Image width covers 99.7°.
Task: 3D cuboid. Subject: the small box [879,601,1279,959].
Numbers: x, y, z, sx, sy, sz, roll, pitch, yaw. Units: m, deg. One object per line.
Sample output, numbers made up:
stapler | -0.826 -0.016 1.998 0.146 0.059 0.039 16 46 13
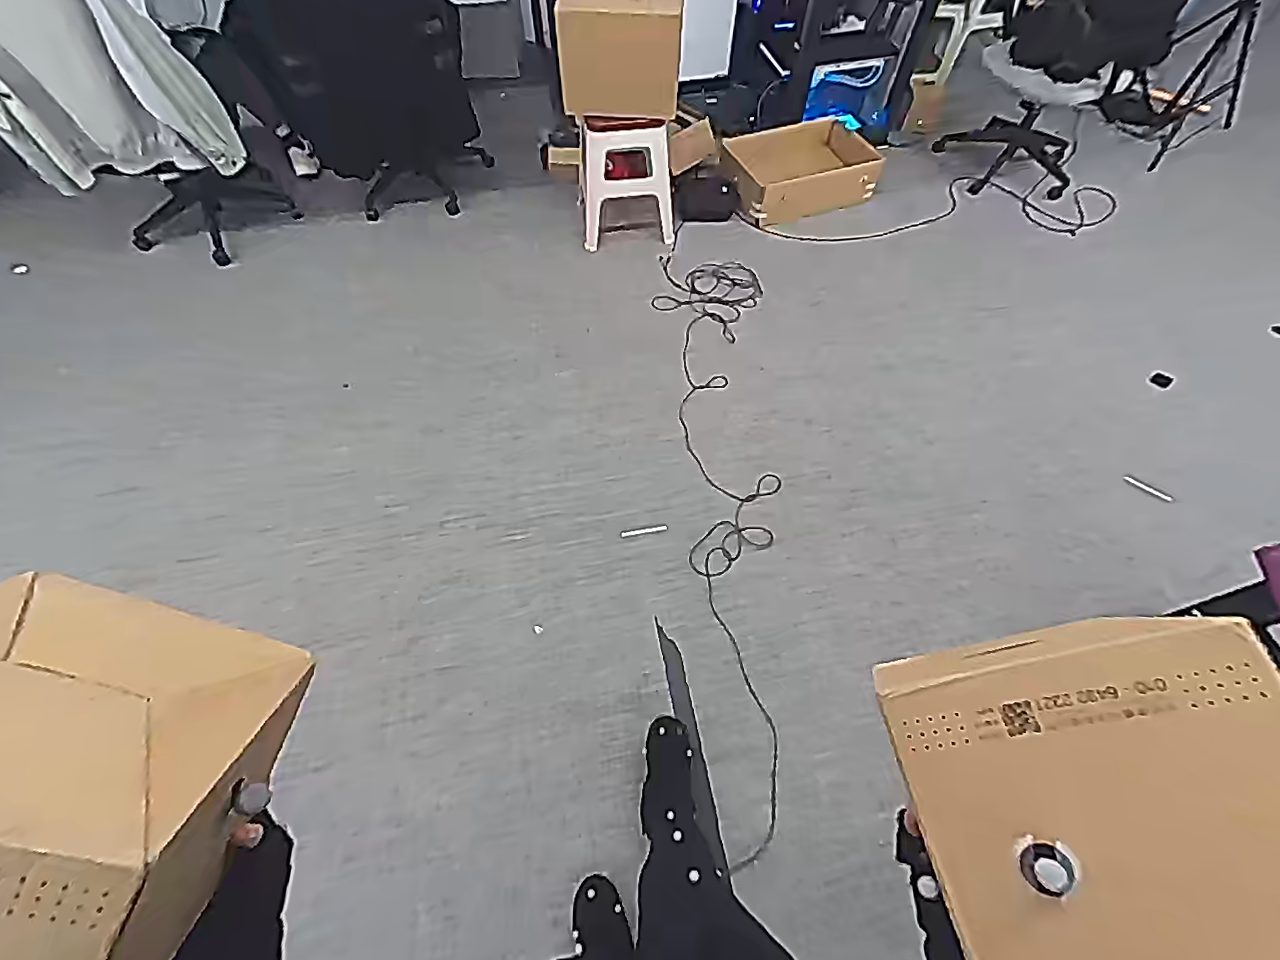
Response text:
small box | 0.251 0.170 0.314 0.168 0.179 0.176 -18 71 17

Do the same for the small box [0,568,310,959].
small box | -0.298 0.158 0.256 0.168 0.179 0.176 24 91 -14
